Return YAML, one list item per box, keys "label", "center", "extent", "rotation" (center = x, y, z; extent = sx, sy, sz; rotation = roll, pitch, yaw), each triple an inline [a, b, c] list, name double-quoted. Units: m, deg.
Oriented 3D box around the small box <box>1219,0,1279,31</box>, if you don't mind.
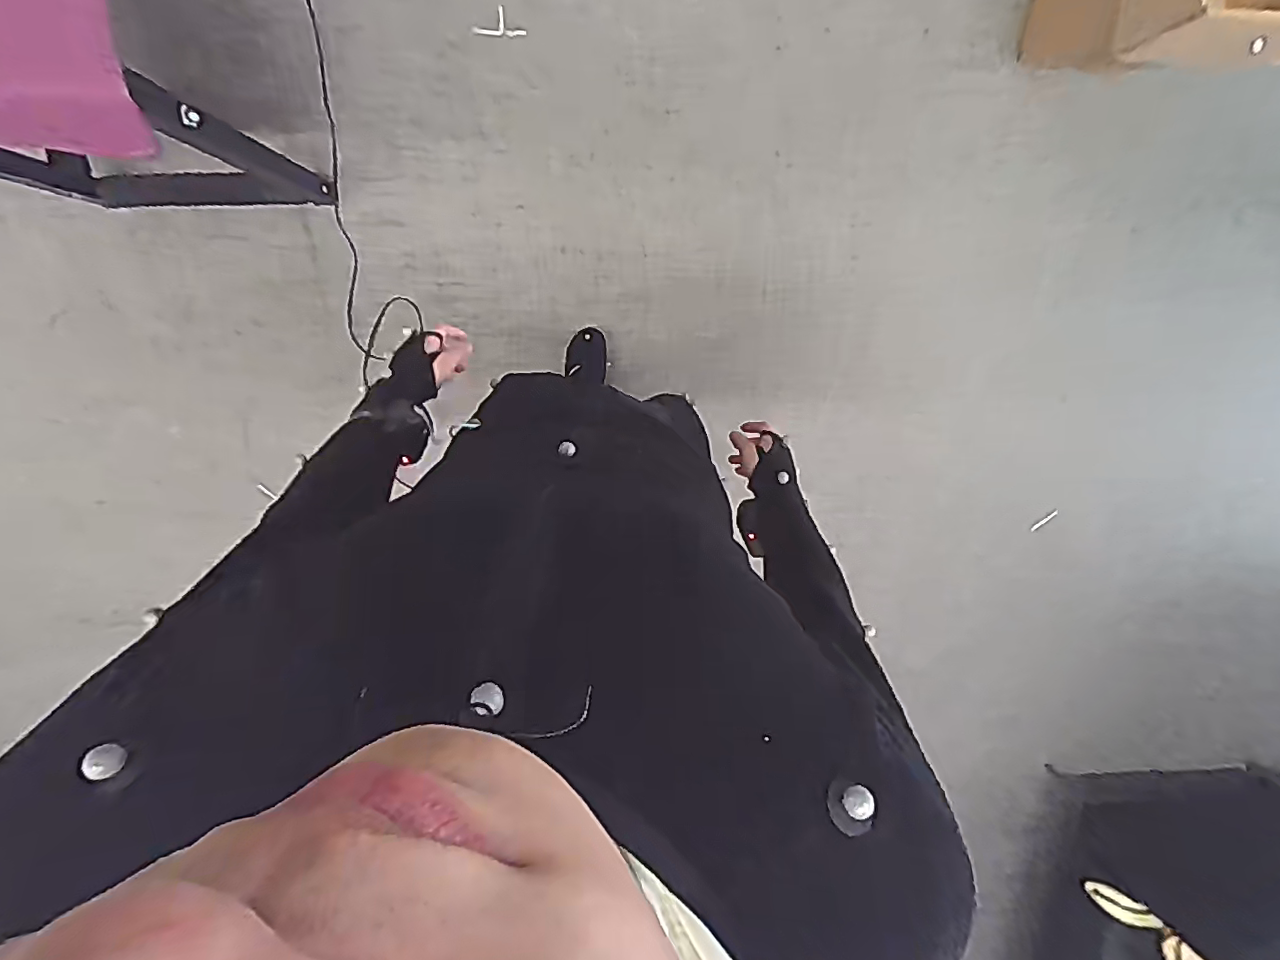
- label: "small box"
  center: [1.233, -0.948, 0.973]
  extent: [0.179, 0.176, 0.168]
  rotation: [2, 105, -3]
